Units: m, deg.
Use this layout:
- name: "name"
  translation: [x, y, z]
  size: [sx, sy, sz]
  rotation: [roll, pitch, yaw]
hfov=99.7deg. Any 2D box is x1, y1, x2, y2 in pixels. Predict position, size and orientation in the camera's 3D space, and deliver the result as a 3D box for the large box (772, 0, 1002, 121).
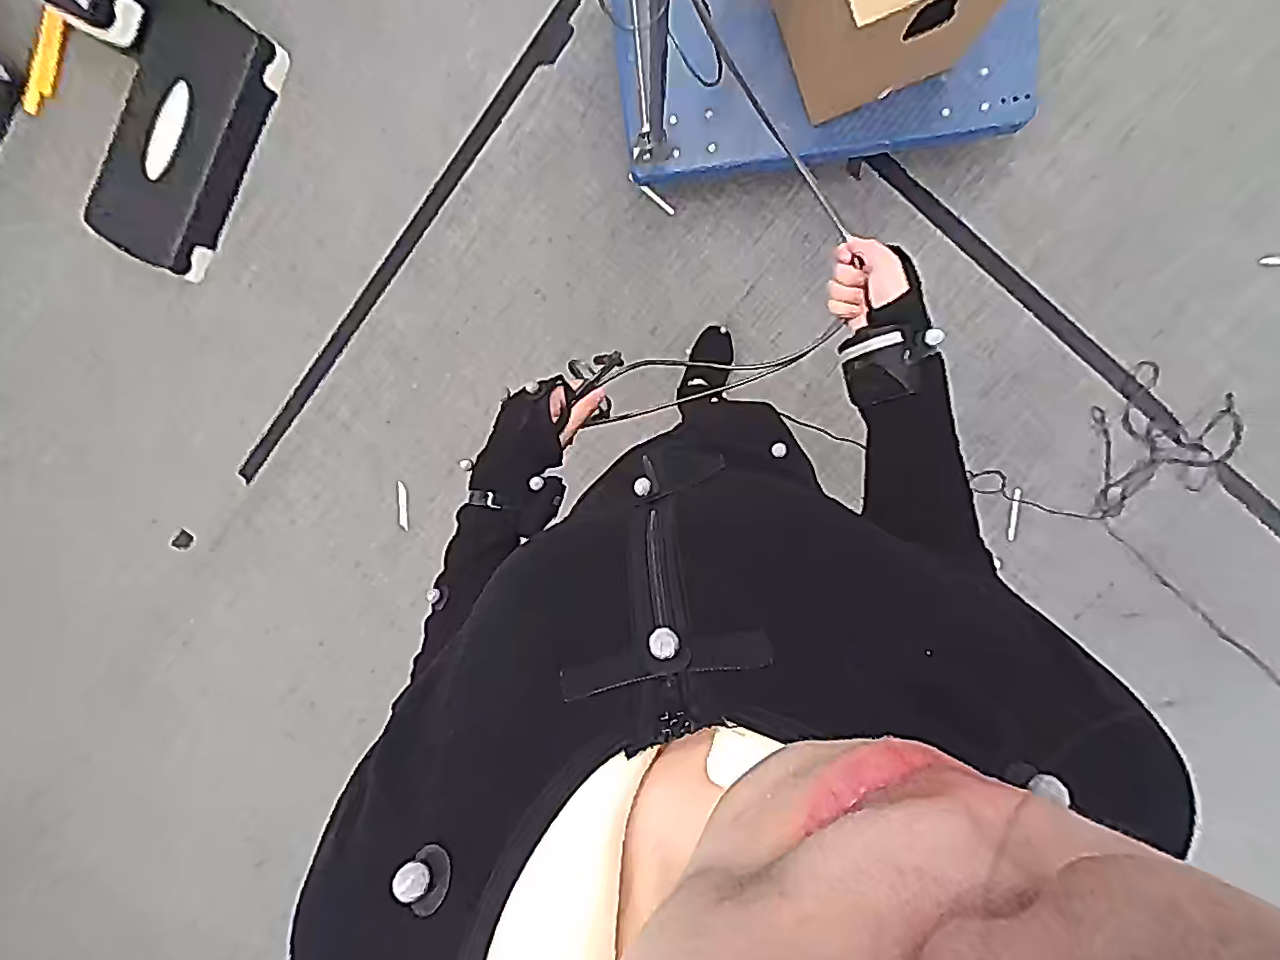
- name: "large box"
  translation: [0.433, -0.985, 0.987]
  size: [0.320, 0.320, 0.408]
  rotation: [-20, 97, 7]
